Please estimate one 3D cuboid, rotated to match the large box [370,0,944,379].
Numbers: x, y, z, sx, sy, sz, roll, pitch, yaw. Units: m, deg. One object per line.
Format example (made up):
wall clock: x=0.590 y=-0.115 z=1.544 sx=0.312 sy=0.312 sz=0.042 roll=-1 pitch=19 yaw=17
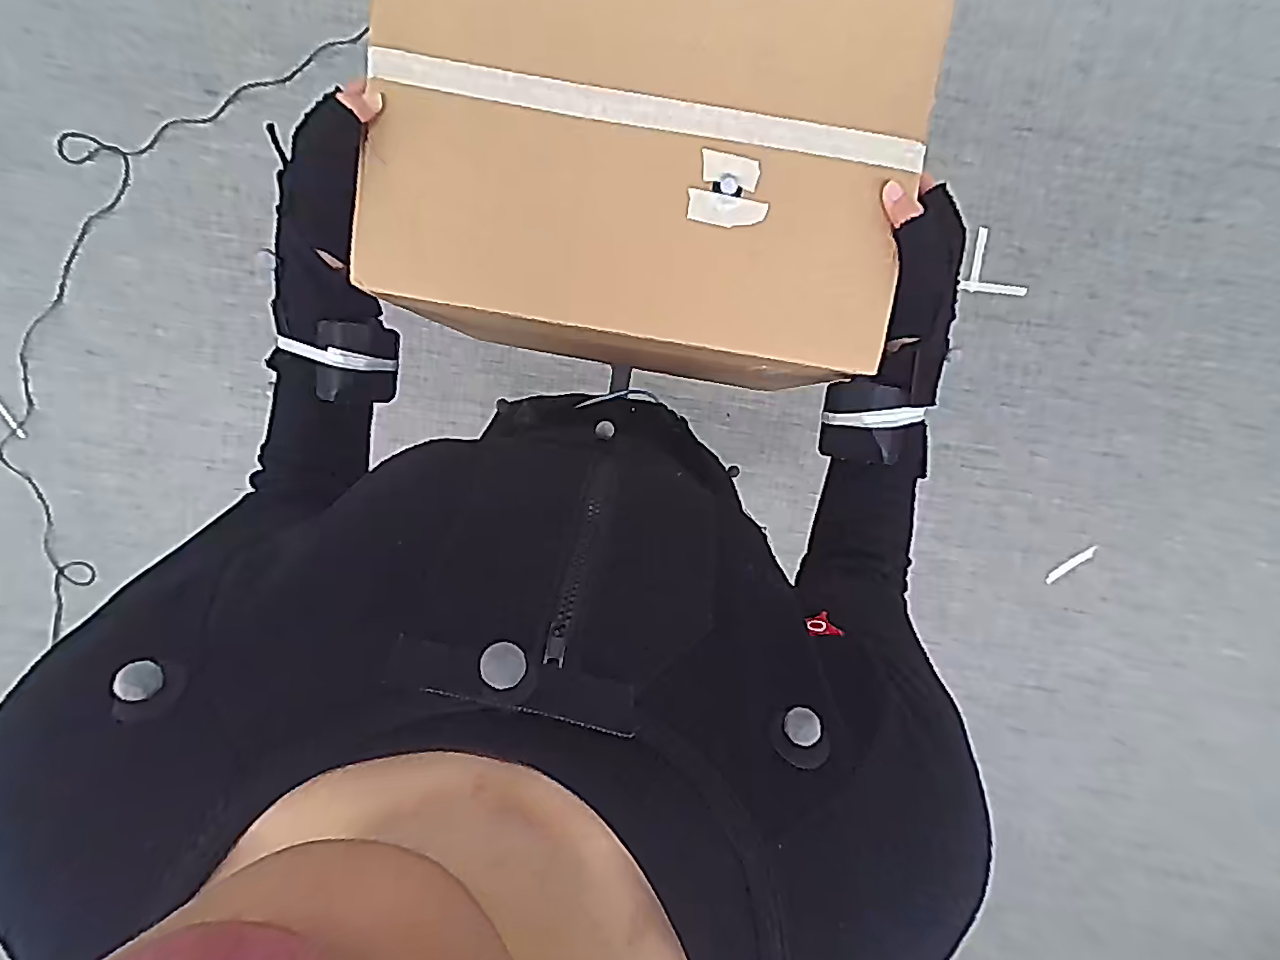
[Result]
large box: x=0.006 y=-0.292 z=0.550 sx=0.408 sy=0.320 sz=0.320 roll=9 pitch=98 yaw=-2
